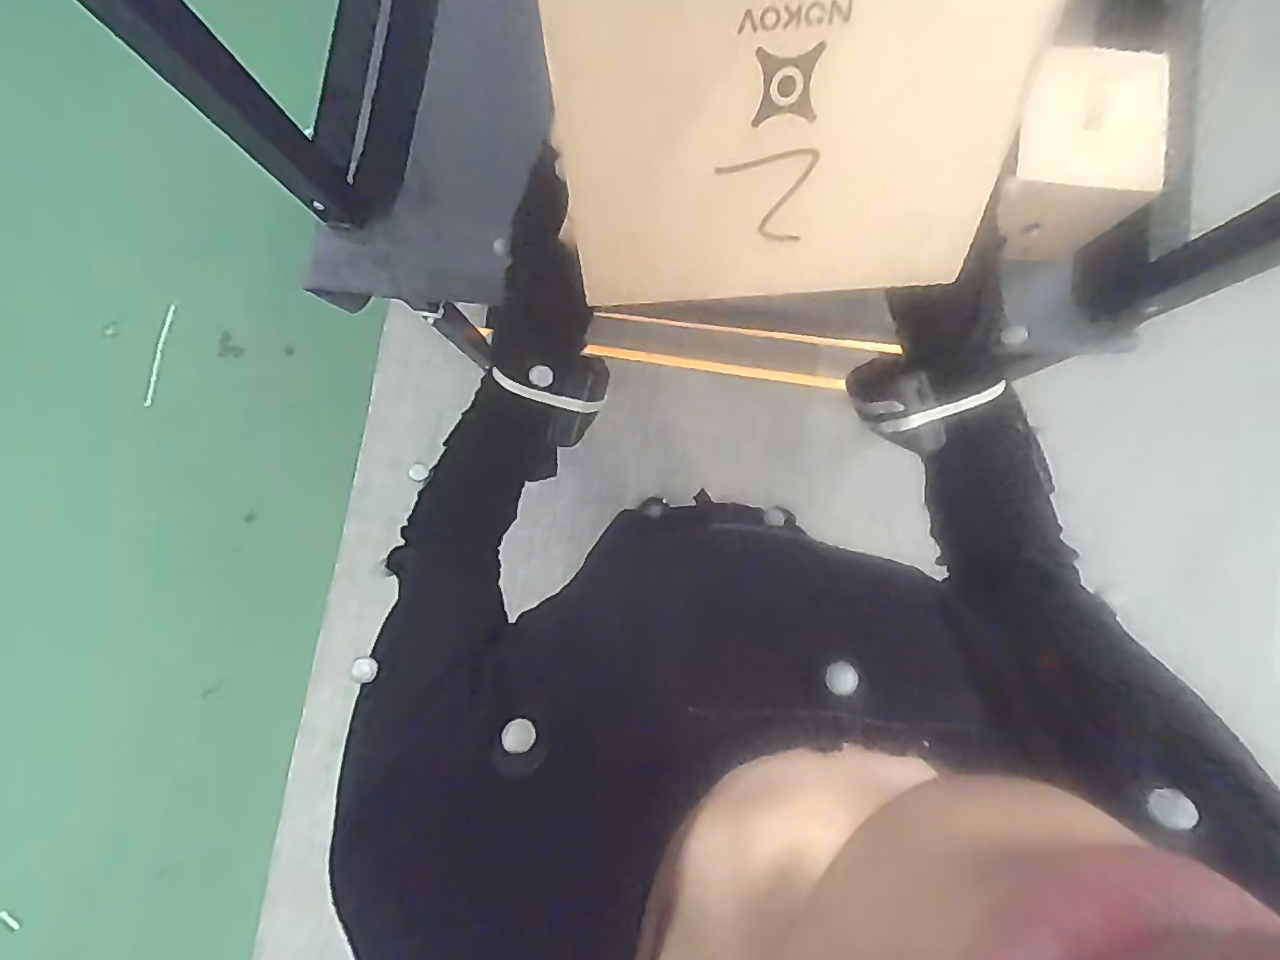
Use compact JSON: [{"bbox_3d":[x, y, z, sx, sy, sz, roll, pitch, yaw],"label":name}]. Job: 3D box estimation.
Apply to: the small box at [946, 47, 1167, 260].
[{"bbox_3d":[0.530,-0.414,0.712,0.168,0.176,0.179,7,84,3],"label":"small box"}]
